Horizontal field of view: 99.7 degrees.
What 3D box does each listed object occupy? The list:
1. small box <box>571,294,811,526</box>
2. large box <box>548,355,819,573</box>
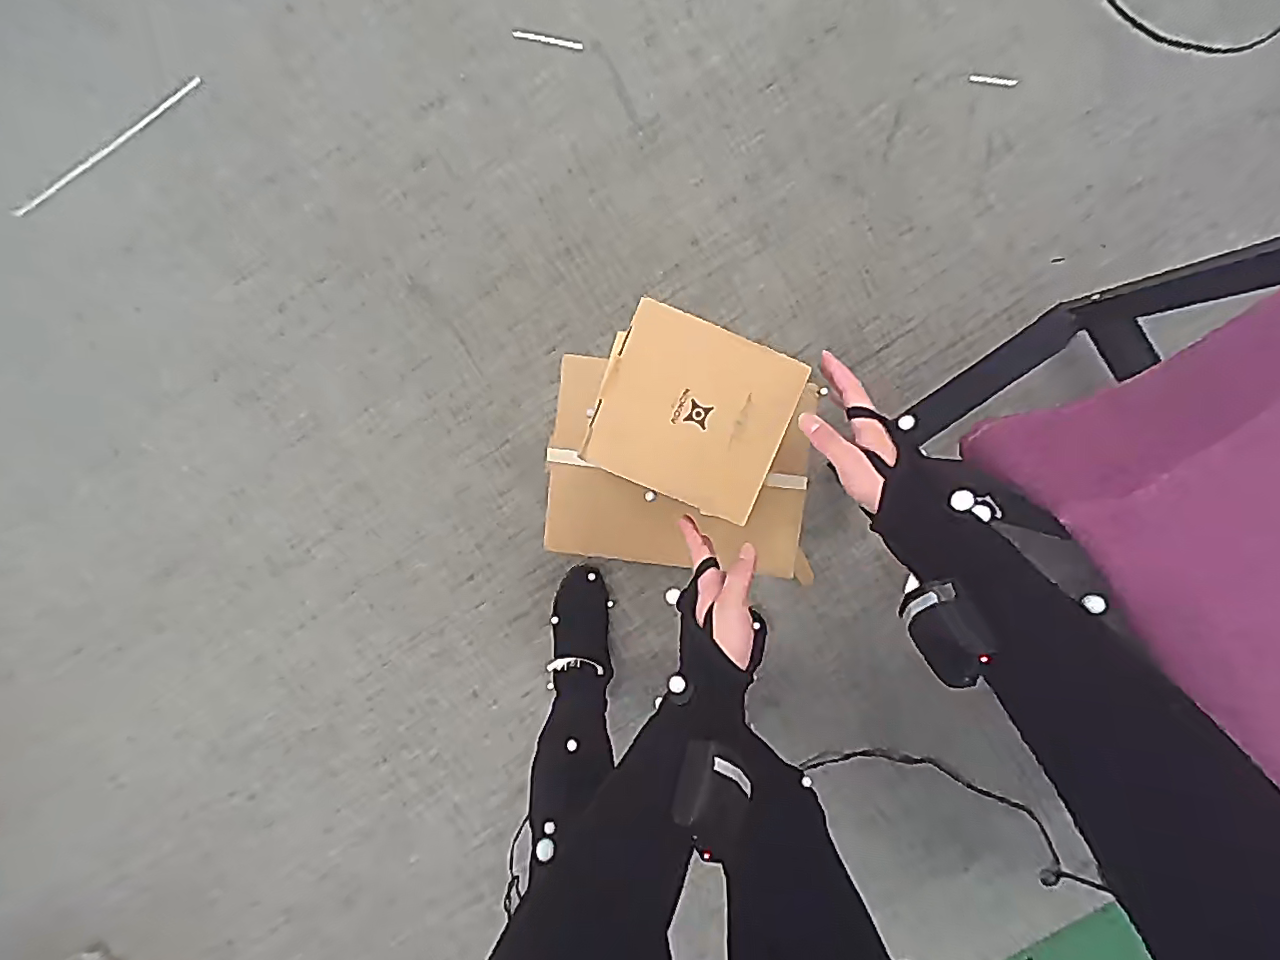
[{"bbox_3d":[0.046,-0.068,0.575,0.179,0.176,0.168,23,94,-2],"label":"small box"},{"bbox_3d":[0.062,-0.033,0.986,0.408,0.320,0.320,6,96,-1],"label":"large box"}]
